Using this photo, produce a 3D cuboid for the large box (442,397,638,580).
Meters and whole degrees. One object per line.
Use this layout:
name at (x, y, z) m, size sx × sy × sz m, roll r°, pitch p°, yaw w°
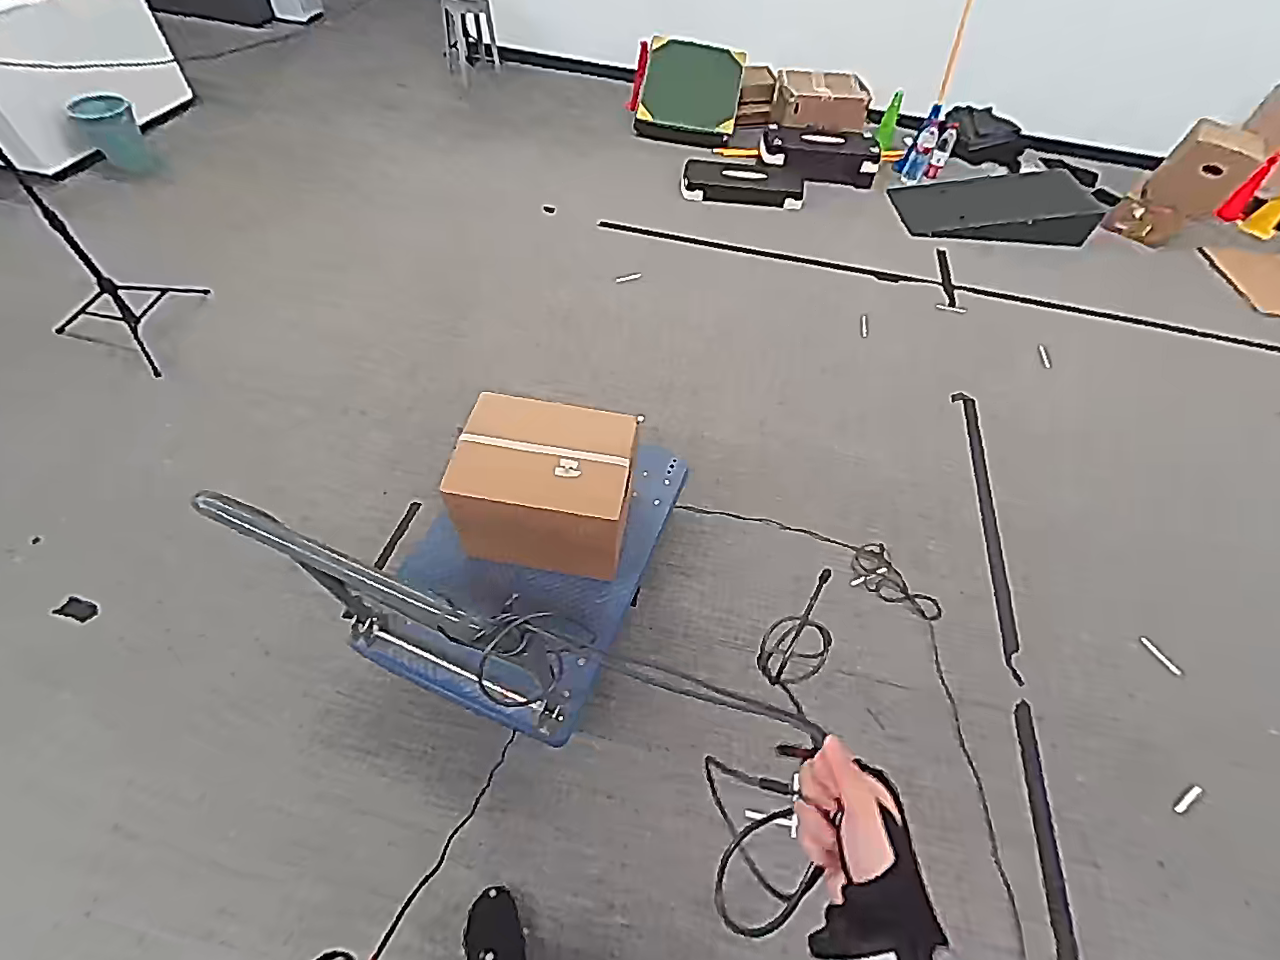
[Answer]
large box at (-0.235, 0.029, 1.385) m, size 0.408 × 0.320 × 0.320 m, roll 10°, pitch 54°, yaw 1°
